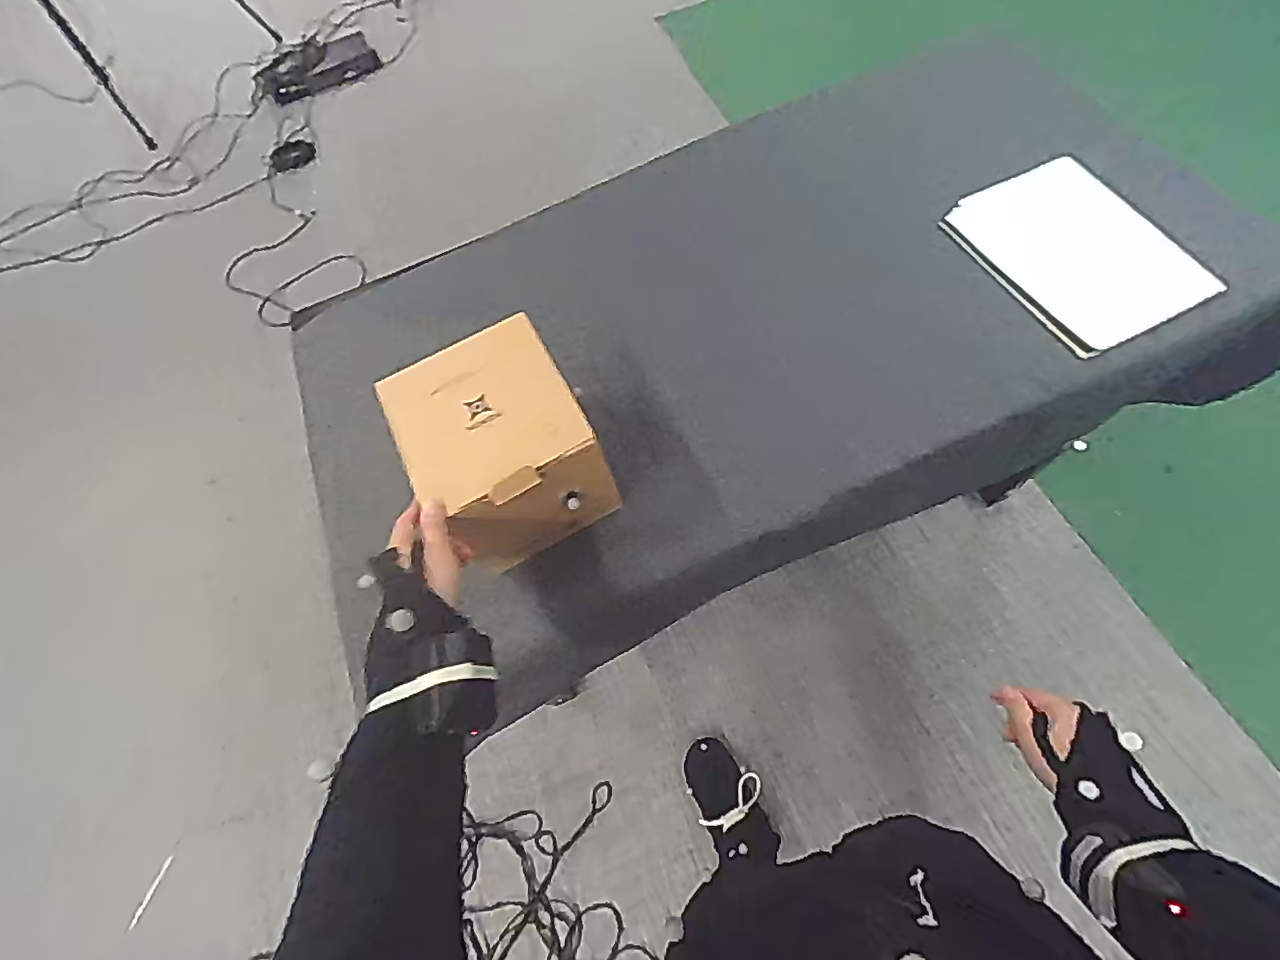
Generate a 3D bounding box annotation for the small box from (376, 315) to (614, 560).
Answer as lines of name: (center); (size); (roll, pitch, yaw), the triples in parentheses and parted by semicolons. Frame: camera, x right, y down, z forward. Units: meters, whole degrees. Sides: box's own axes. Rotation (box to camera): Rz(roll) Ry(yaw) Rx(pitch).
small box: (-0.143, -0.032, 0.578); (0.168, 0.176, 0.179); (-28, 64, -7)
